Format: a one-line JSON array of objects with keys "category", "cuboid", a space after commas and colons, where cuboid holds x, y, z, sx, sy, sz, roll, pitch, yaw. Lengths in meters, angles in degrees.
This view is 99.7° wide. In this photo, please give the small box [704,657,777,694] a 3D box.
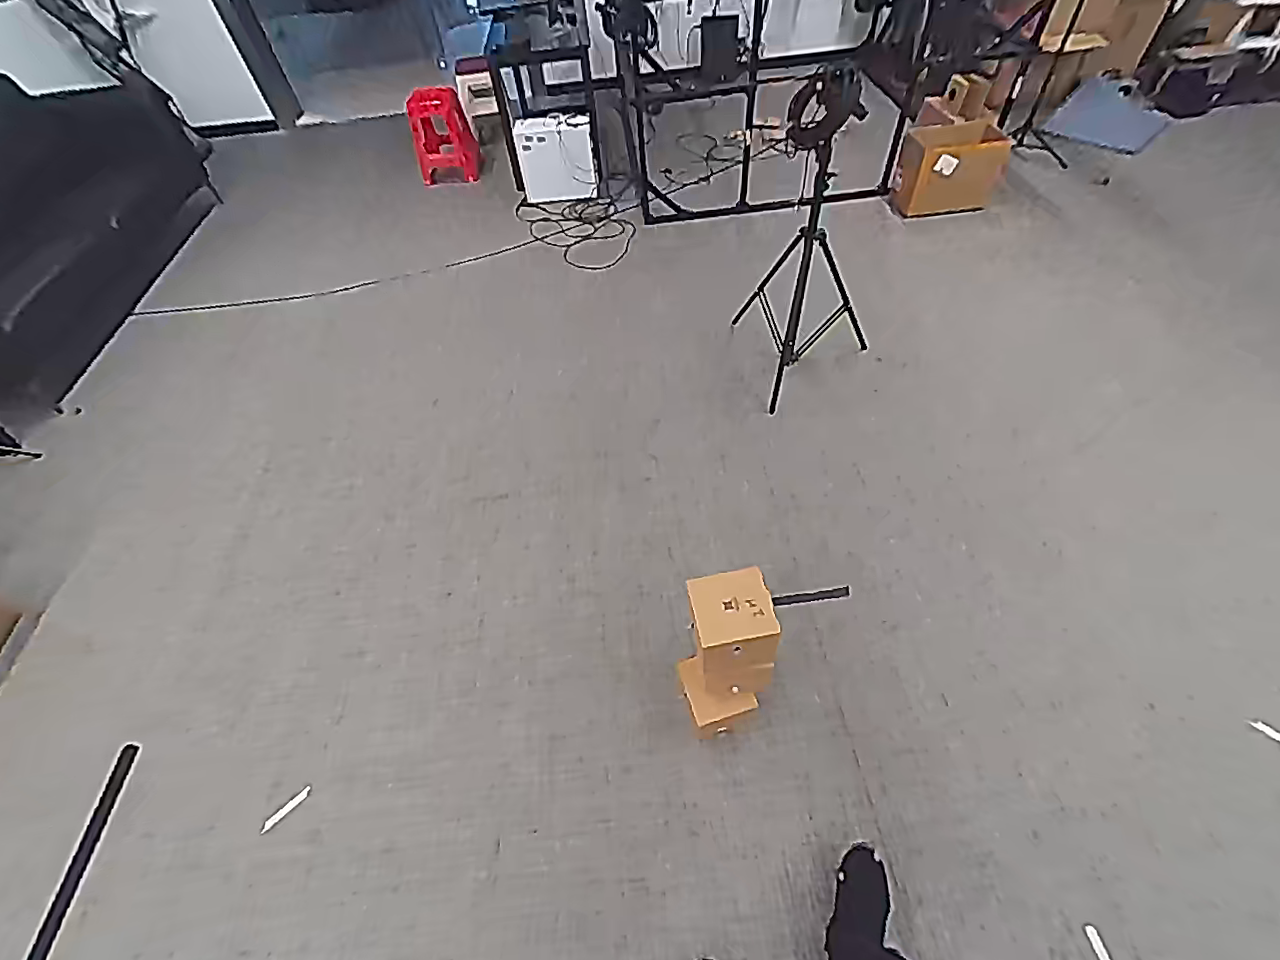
[{"category": "small box", "cuboid": [0.244, 0.427, 1.372, 0.168, 0.176, 0.179, -5, 52, 3]}]

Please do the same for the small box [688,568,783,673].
[{"category": "small box", "cuboid": [0.214, 0.327, 1.244, 0.179, 0.176, 0.168, -10, 51, -1]}]

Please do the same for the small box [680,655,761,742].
[{"category": "small box", "cuboid": [0.212, 0.580, 1.463, 0.168, 0.176, 0.179, -16, 52, -6]}]
